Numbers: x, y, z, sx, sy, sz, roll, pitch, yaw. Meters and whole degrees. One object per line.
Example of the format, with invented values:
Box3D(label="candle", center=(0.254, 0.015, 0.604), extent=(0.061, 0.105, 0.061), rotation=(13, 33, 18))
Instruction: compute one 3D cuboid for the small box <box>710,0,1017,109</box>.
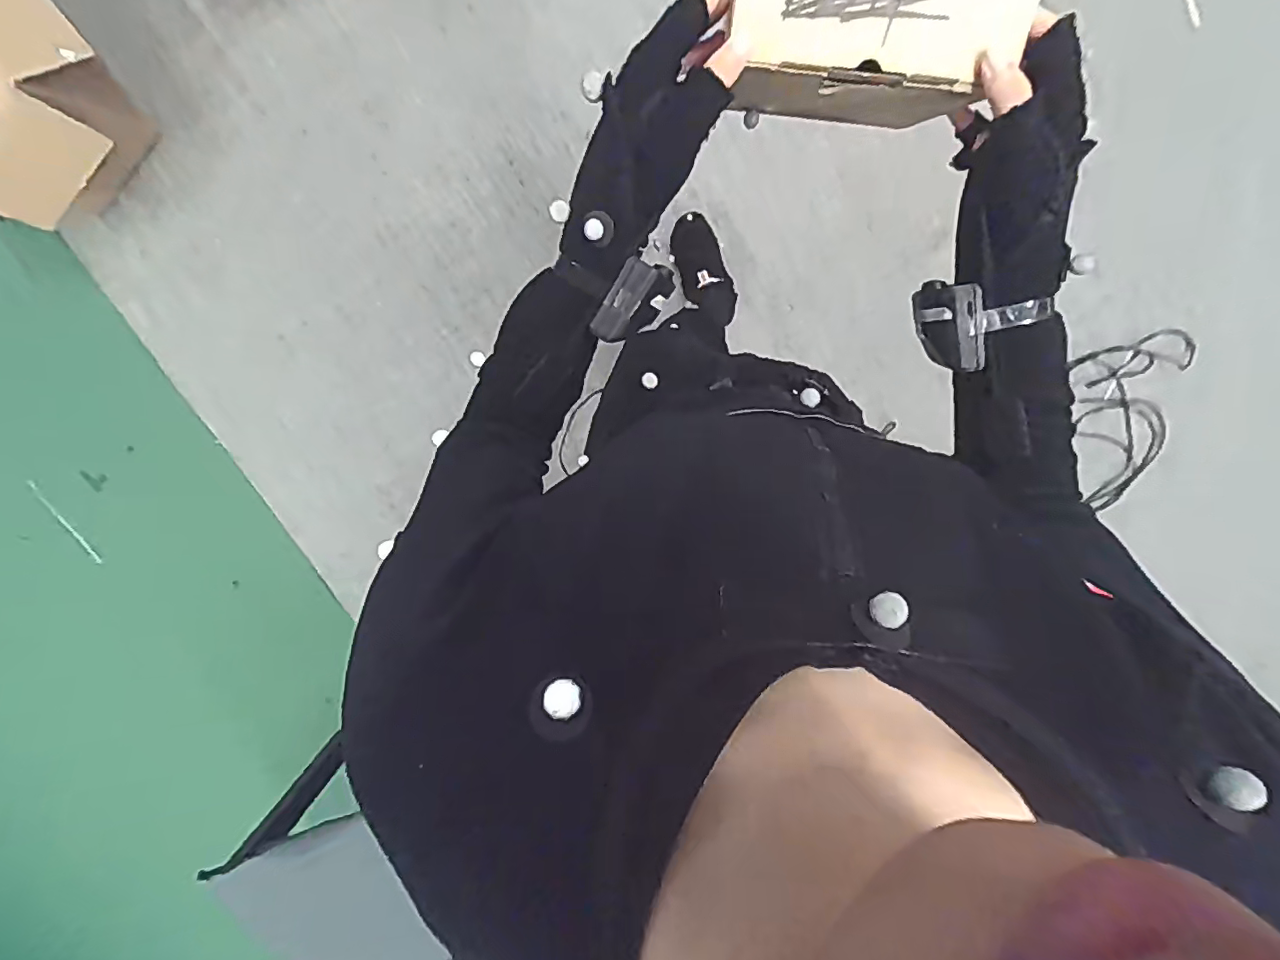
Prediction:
Box3D(label="small box", center=(0.138, -0.357, 0.345), extent=(0.168, 0.176, 0.179), rotation=(6, 116, 1))
